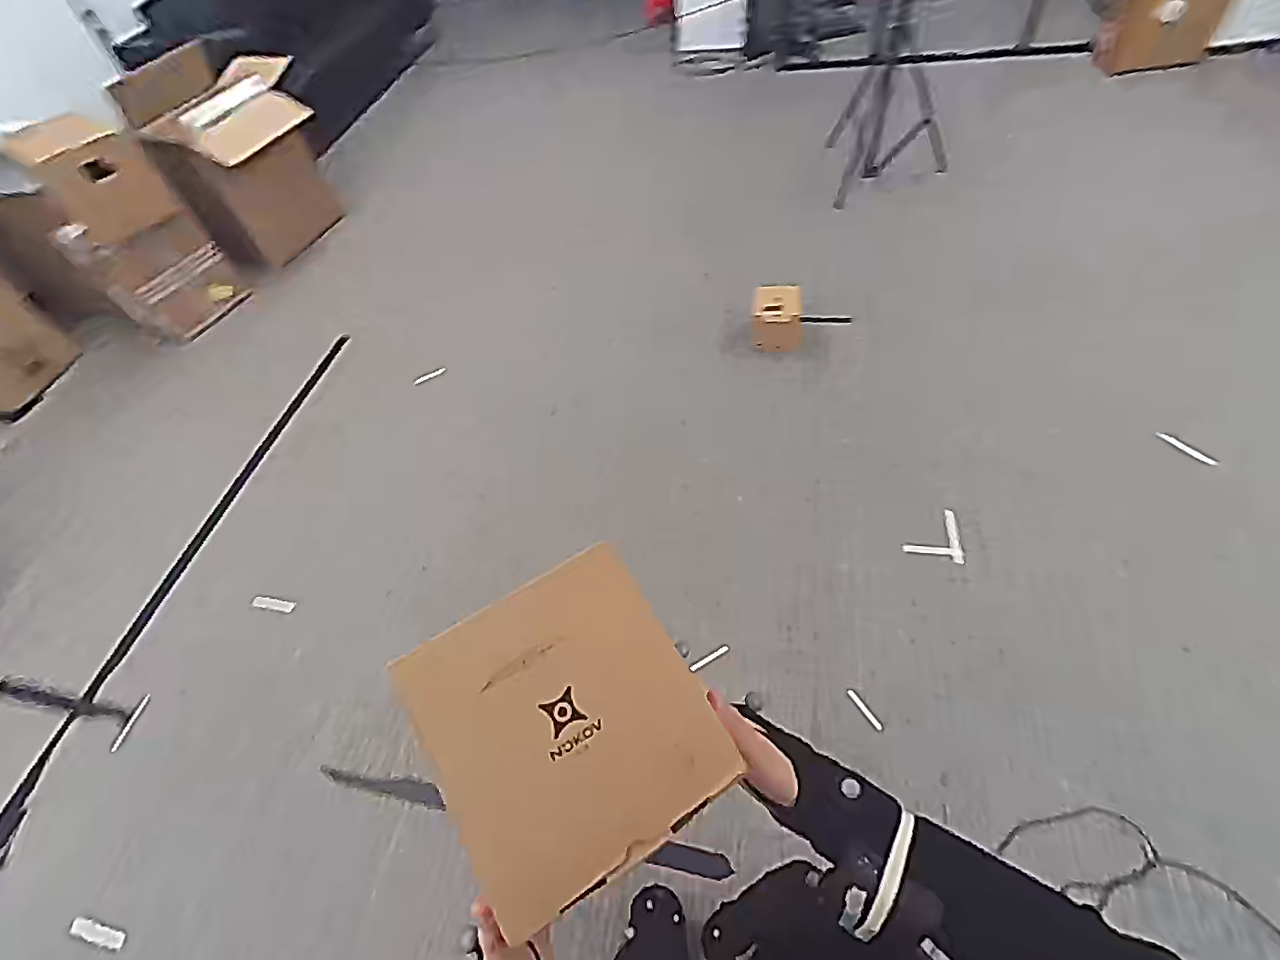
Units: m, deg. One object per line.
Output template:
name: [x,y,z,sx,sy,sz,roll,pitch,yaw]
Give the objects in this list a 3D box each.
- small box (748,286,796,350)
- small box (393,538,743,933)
small box: [0.501,-0.614,2.058,0.168,0.176,0.179,3,56,10]
small box: [-0.051,0.175,0.414,0.168,0.176,0.179,-29,72,-15]
